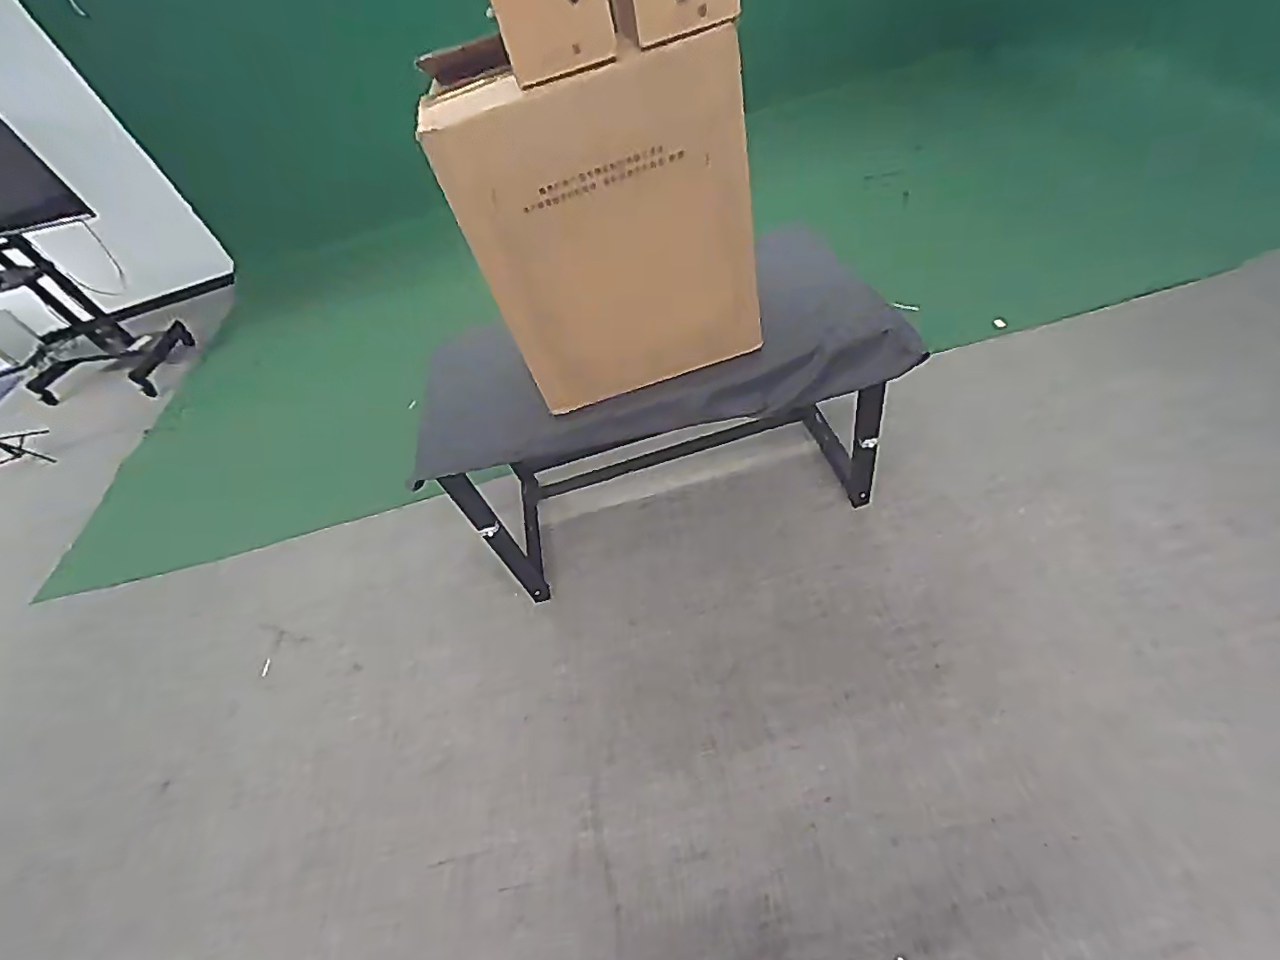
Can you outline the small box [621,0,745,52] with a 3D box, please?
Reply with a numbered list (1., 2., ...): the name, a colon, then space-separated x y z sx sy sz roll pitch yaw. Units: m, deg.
1. small box: 0.055 -0.796 0.838 0.168 0.176 0.179 -17 49 1
